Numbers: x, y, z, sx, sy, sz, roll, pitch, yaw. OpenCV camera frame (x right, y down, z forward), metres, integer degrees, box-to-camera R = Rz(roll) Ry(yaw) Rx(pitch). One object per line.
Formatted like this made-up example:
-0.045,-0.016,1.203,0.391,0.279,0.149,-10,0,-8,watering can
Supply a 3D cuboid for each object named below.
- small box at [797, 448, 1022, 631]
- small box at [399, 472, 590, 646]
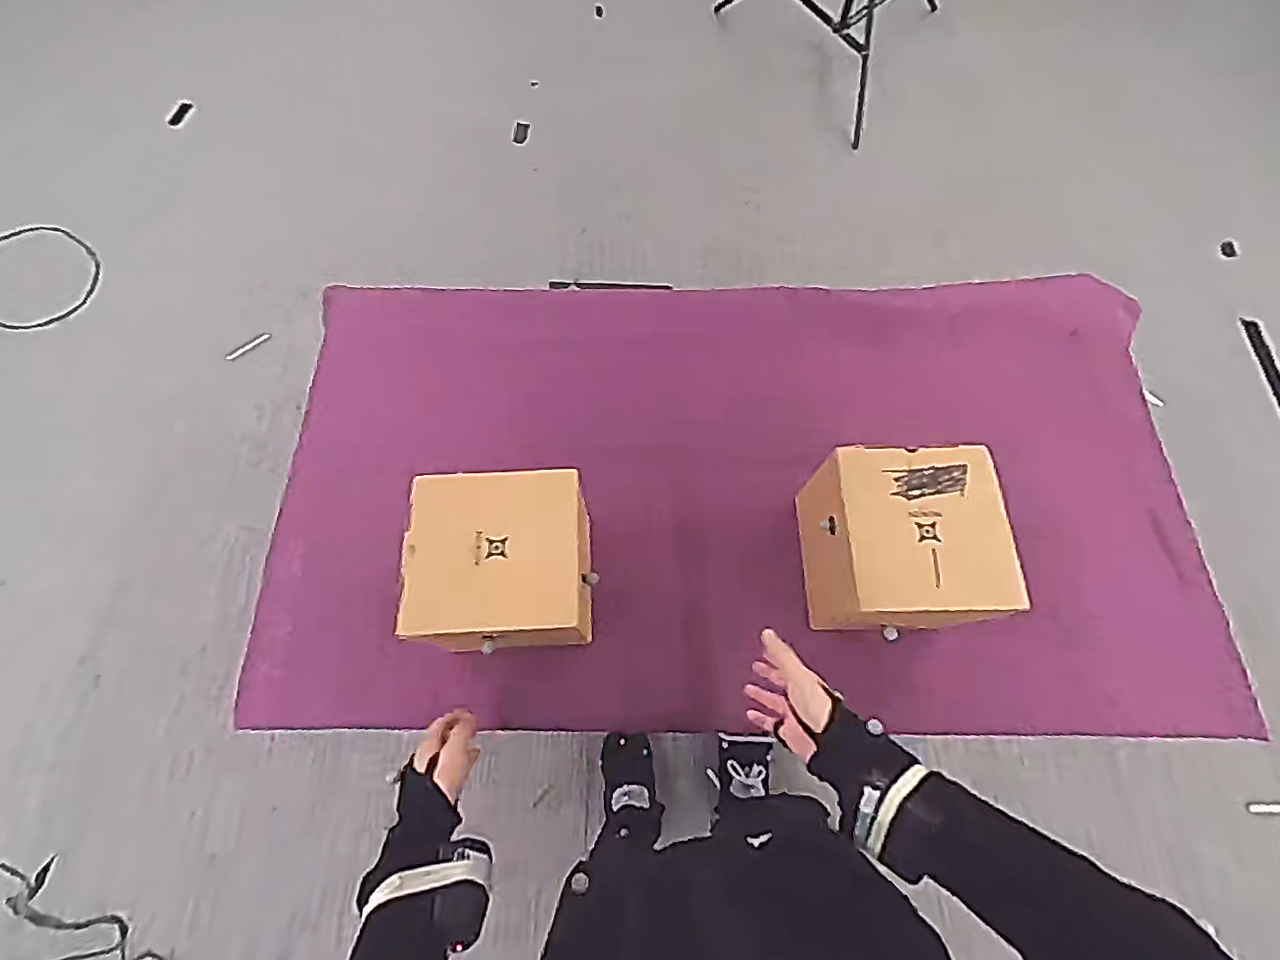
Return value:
0.289,0.075,0.627,0.168,0.176,0.179,0,69,0,small box
-0.149,0.098,0.622,0.179,0.176,0.168,-3,69,-1,small box
